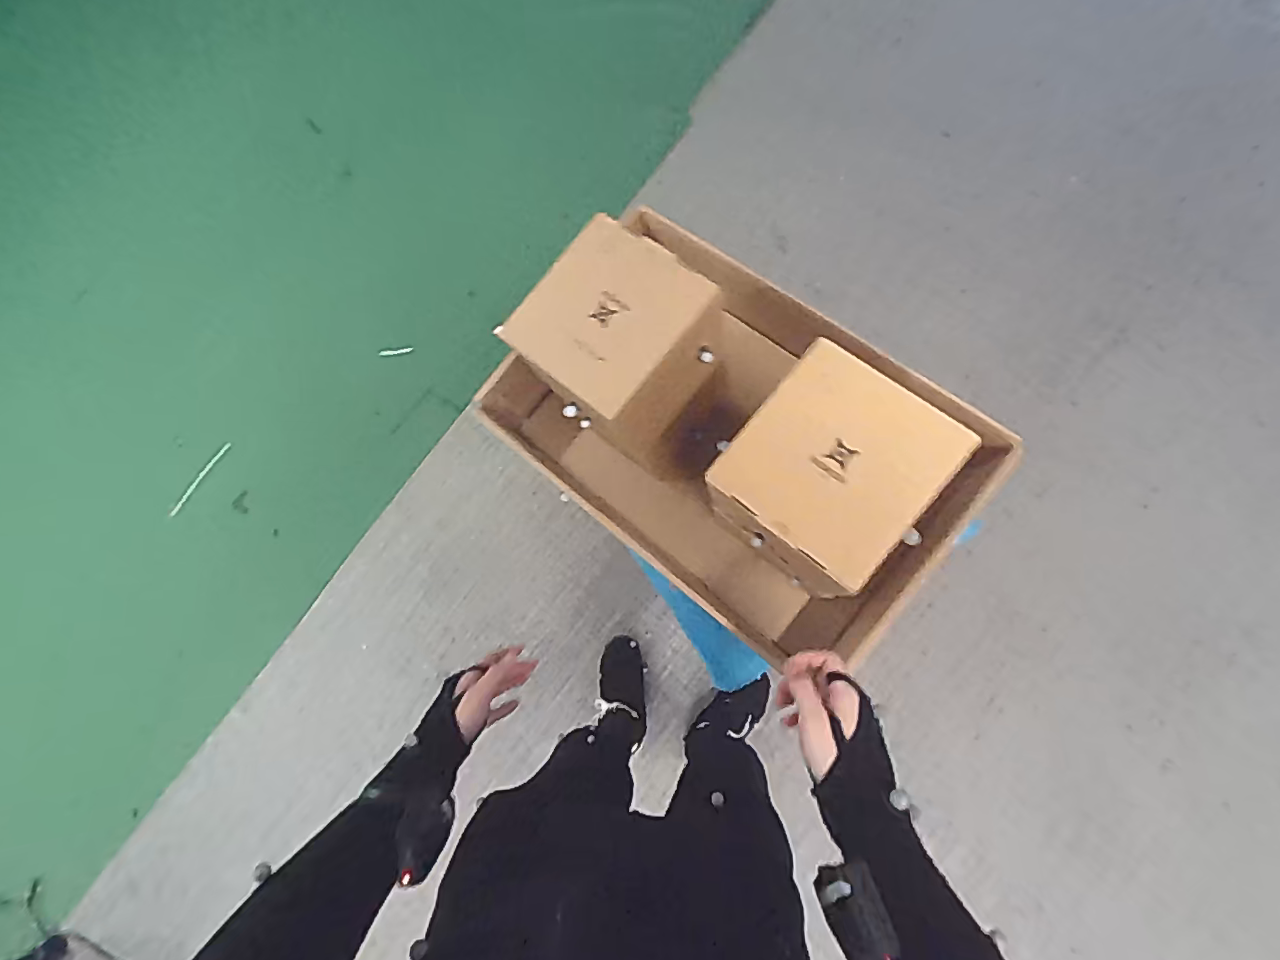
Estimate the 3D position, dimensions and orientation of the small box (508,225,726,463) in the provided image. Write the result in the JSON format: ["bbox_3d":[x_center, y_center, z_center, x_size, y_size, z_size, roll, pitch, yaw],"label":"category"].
[{"bbox_3d":[-0.015,-0.147,0.638,0.168,0.176,0.179,39,88,16],"label":"small box"}]

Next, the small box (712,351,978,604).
[{"bbox_3d":[0.193,0.008,0.560,0.168,0.176,0.179,40,88,16],"label":"small box"}]
